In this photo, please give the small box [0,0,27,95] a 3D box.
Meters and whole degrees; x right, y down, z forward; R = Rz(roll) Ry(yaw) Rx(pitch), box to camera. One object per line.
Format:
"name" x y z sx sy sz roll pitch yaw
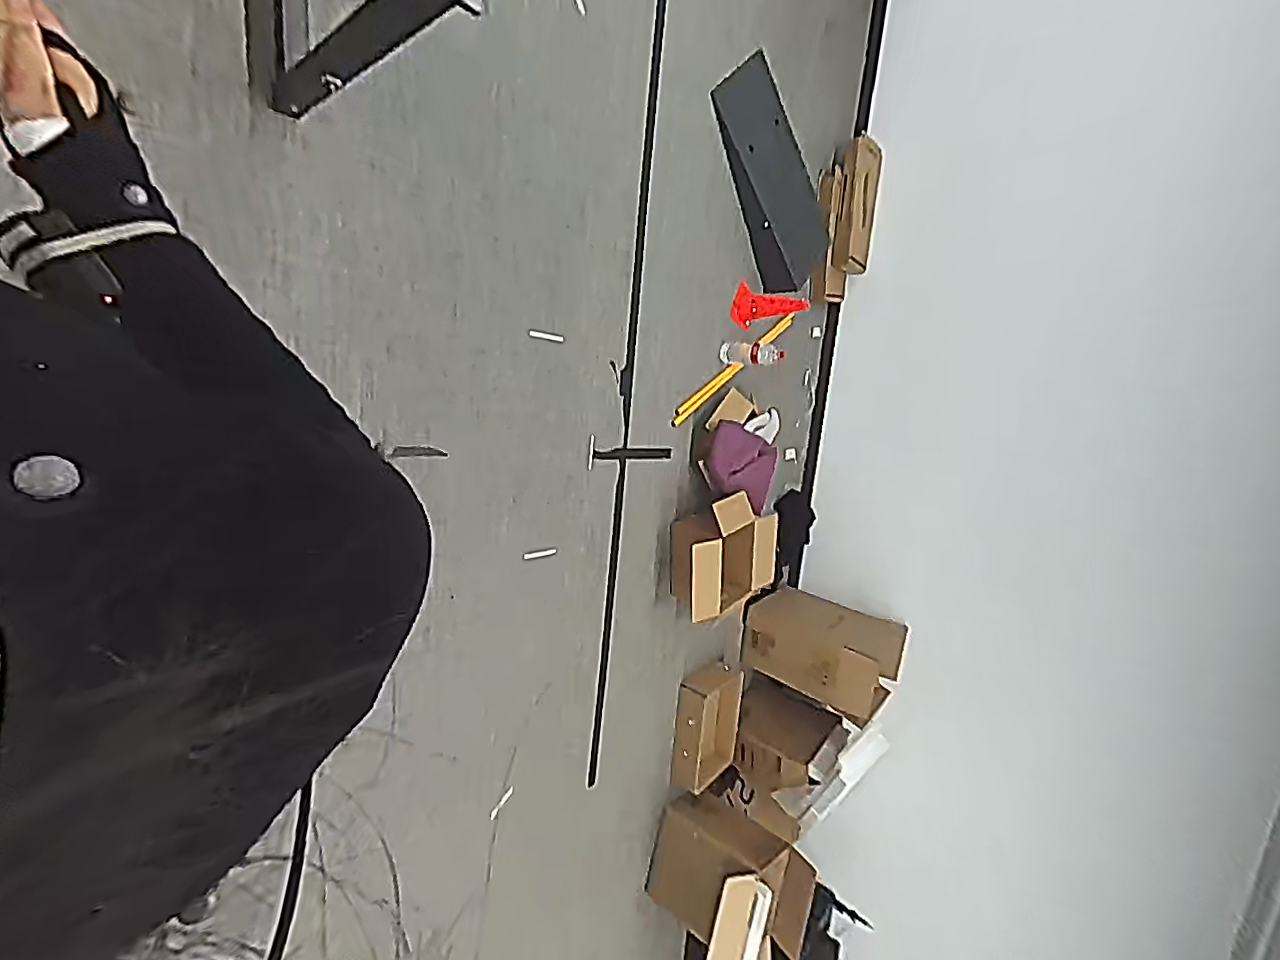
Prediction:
"small box" -0.374 -0.286 0.205 0.168 0.176 0.179 -11 113 -48
